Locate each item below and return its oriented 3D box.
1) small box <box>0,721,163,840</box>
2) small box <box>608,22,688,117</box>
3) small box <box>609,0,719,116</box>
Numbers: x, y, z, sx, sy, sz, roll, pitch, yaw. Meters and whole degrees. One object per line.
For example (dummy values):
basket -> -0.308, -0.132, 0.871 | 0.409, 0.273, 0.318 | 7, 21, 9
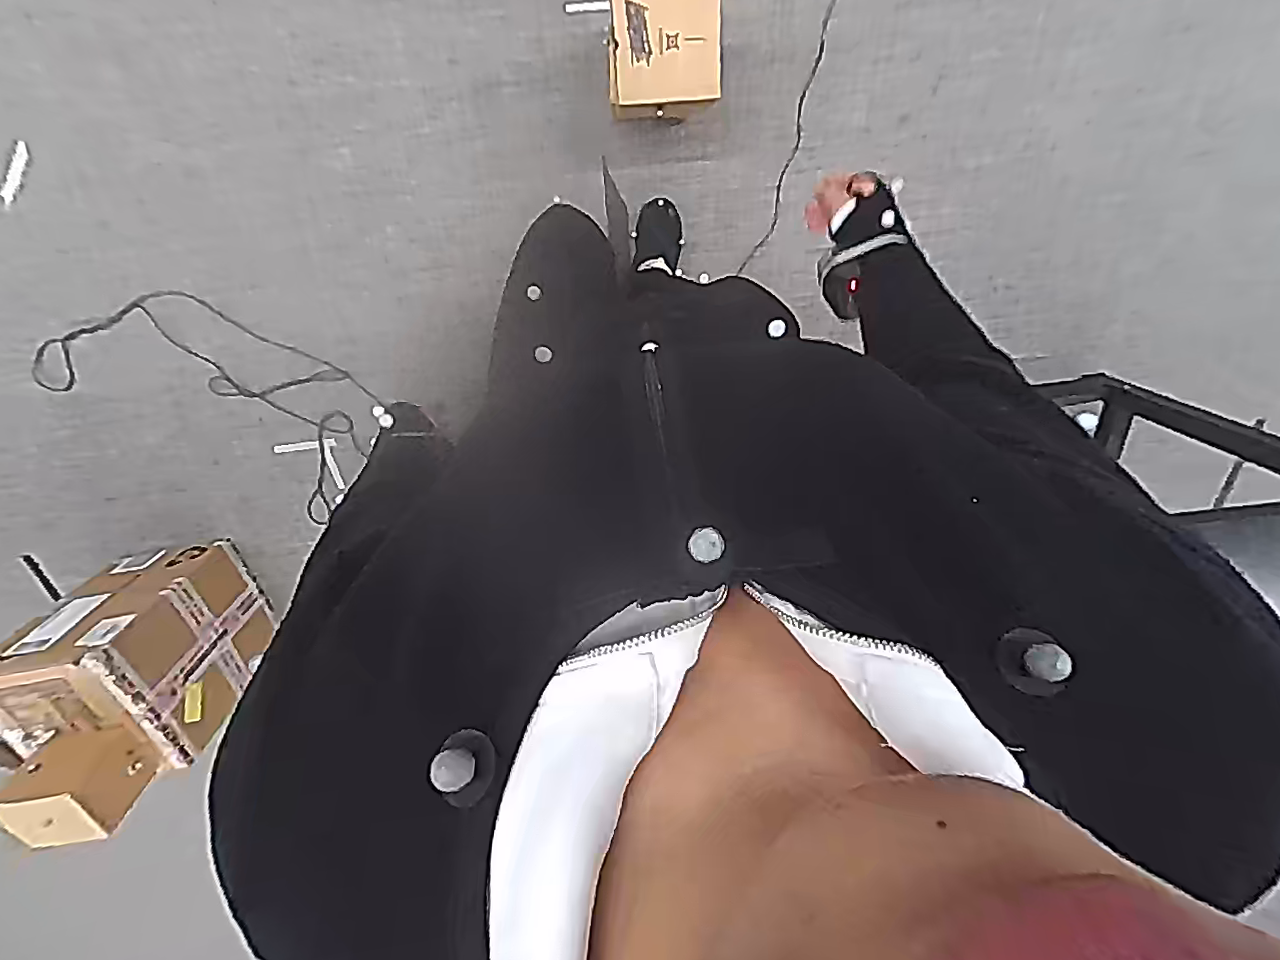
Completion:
small box -> -1.288, 0.695, 1.261 | 0.179, 0.176, 0.168 | -8, 119, -4
small box -> 0.025, -0.840, 1.086 | 0.179, 0.176, 0.168 | 0, 118, -4
small box -> 0.039, -0.751, 0.947 | 0.179, 0.176, 0.168 | -5, 118, -1
